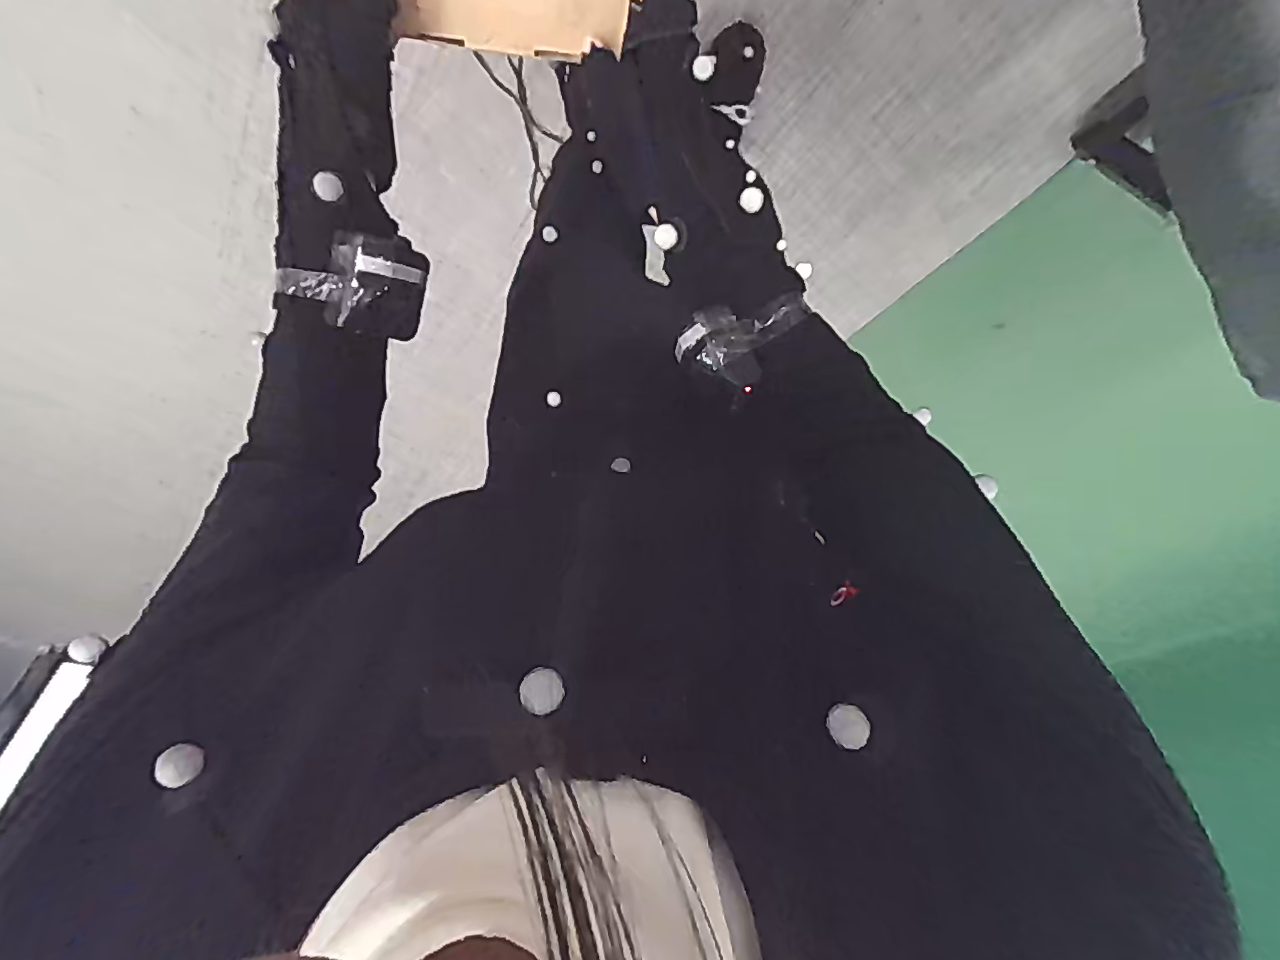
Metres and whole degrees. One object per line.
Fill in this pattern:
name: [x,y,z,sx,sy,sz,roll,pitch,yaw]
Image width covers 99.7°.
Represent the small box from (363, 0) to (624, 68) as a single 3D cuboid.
small box: [-0.092,-0.401,0.357,0.168,0.176,0.179,0,133,-10]
